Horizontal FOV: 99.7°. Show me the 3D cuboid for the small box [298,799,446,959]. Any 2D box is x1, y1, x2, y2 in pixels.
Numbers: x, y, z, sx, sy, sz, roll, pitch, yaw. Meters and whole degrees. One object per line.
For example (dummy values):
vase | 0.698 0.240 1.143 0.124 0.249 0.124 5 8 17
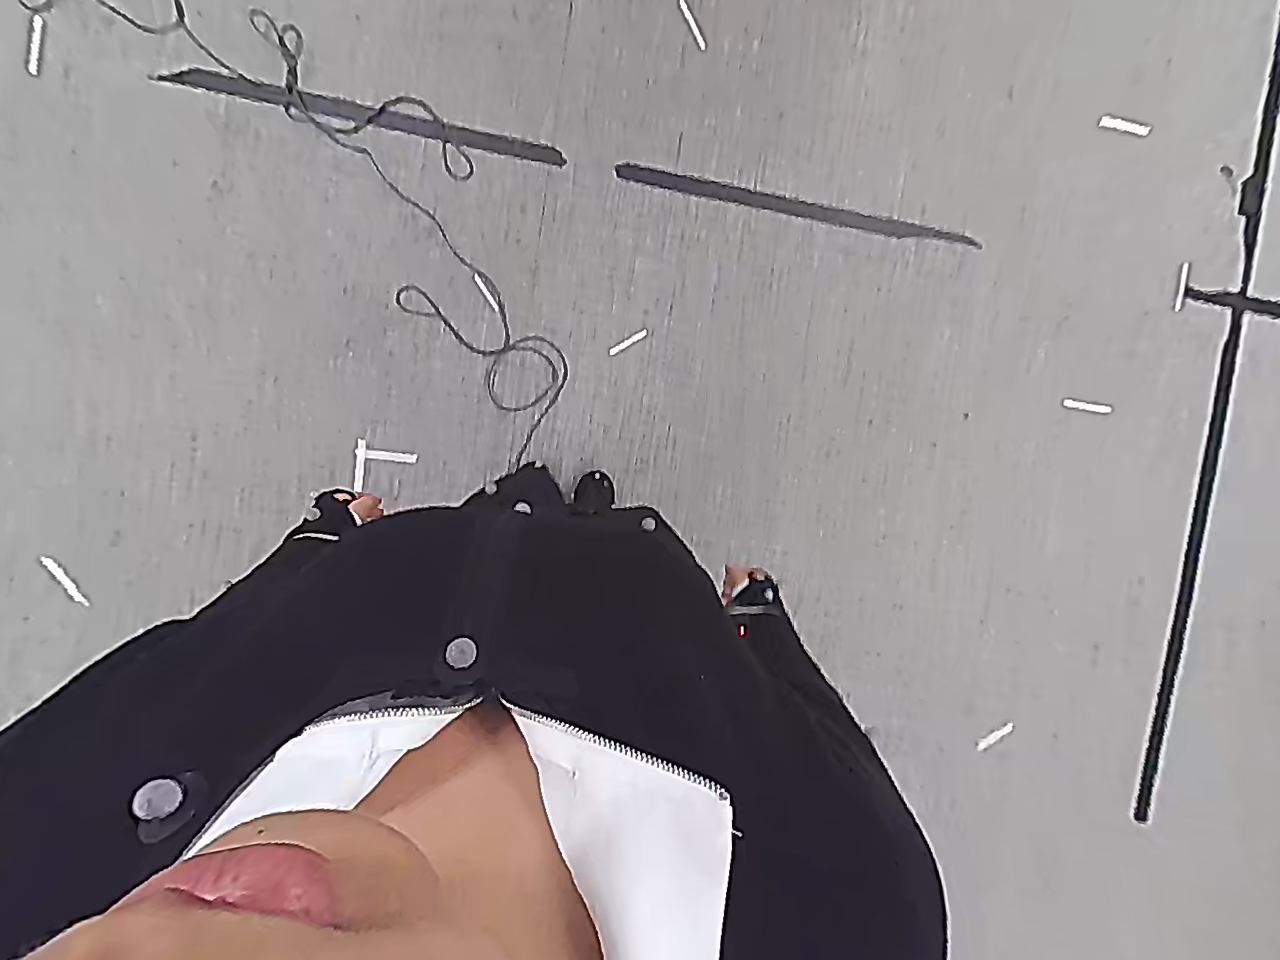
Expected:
small box | -0.445 0.689 0.923 0.168 0.176 0.179 9 90 -4
